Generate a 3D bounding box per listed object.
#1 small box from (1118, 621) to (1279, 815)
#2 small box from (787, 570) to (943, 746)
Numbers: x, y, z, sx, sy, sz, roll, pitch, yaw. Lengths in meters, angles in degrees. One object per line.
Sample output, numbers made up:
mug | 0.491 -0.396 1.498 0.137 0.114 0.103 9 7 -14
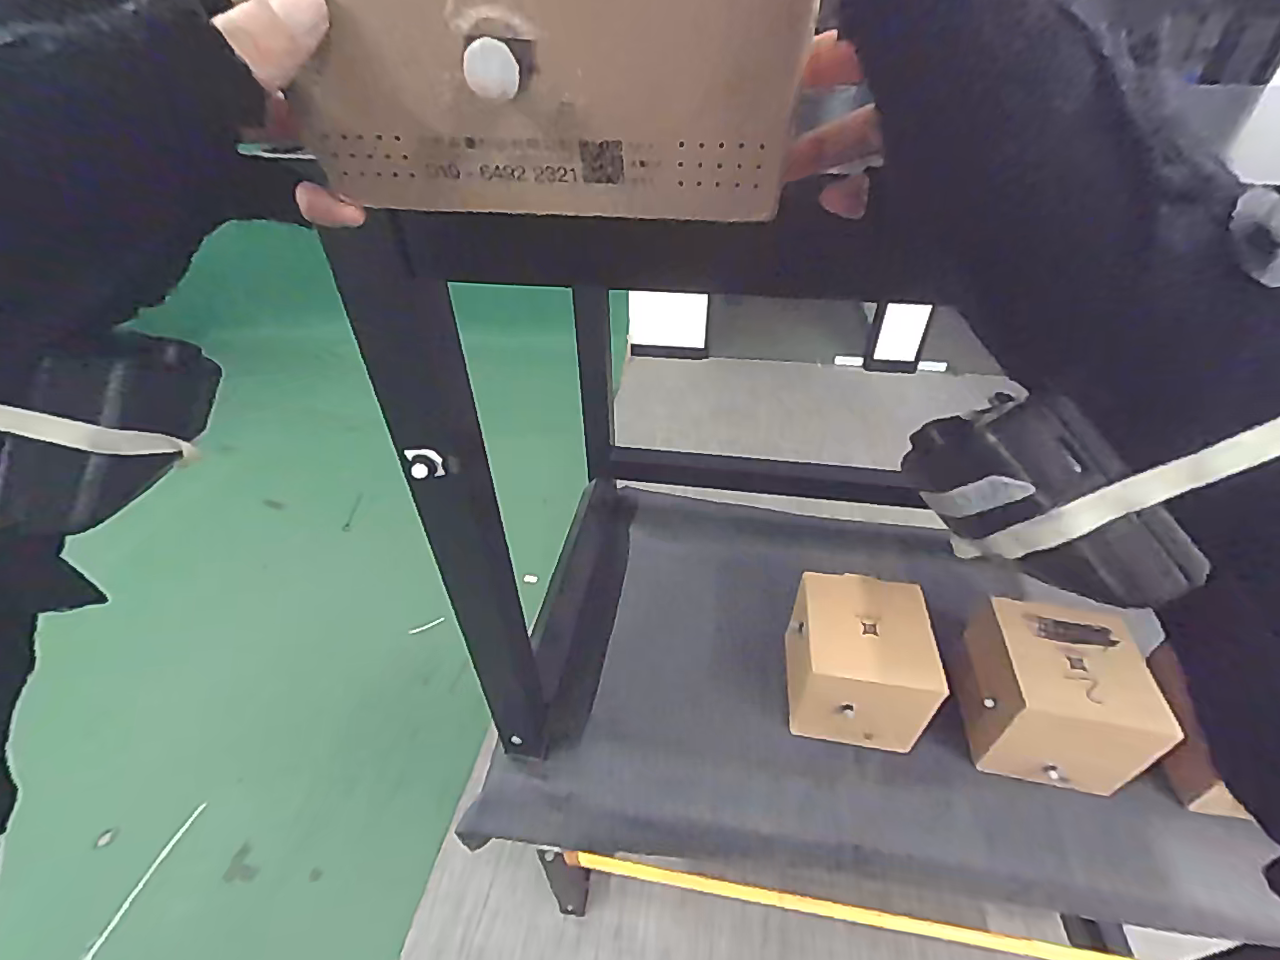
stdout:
small box | 0.796 0.315 0.709 0.168 0.176 0.179 5 38 7
small box | 0.312 0.260 0.791 0.168 0.176 0.179 6 39 8
